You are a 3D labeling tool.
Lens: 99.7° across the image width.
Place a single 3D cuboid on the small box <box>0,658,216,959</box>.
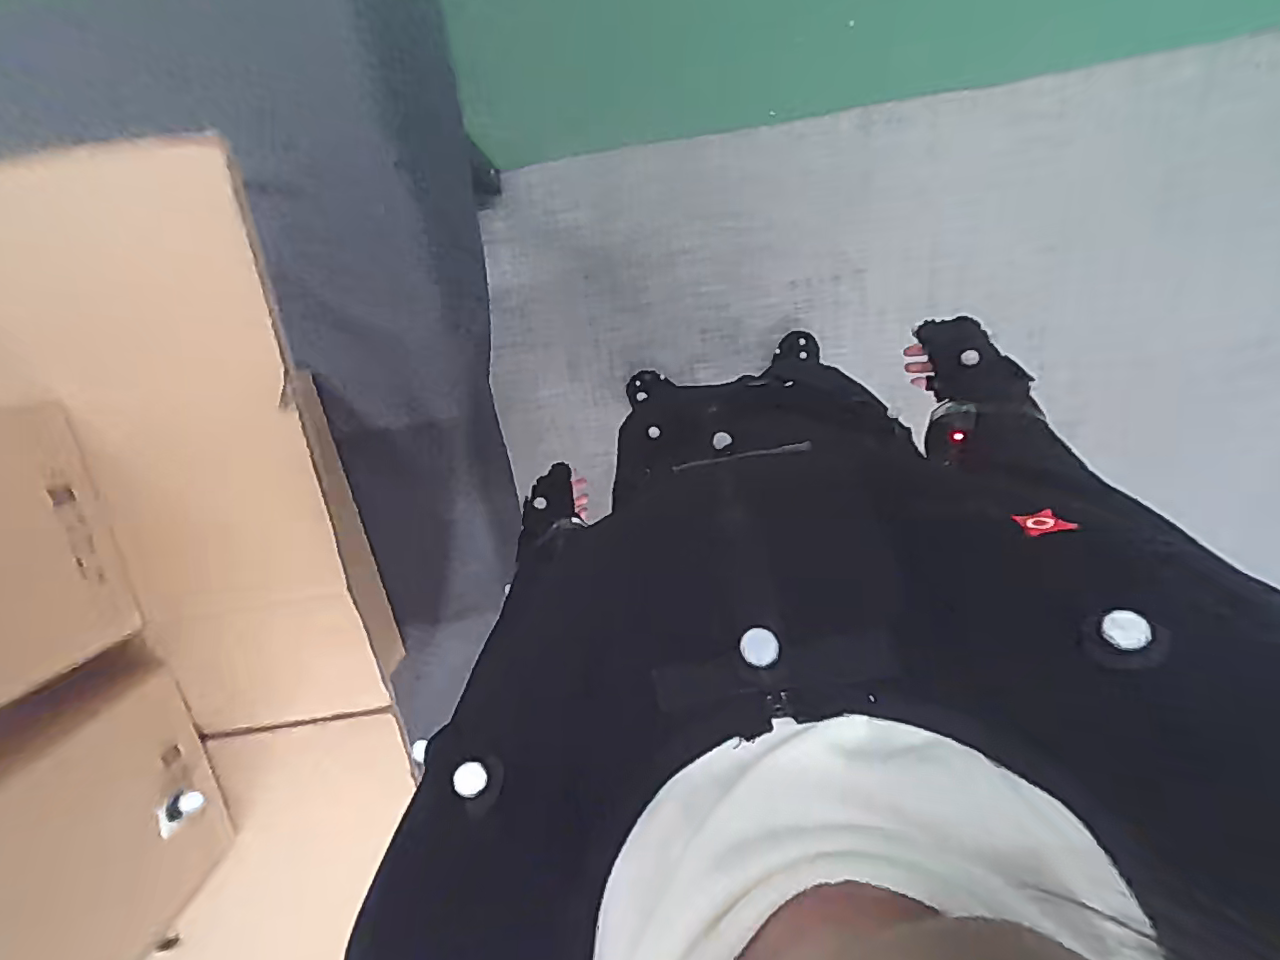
[{"bbox_3d":[-0.421,0.233,0.326,0.179,0.176,0.168,-10,105,0],"label":"small box"}]
